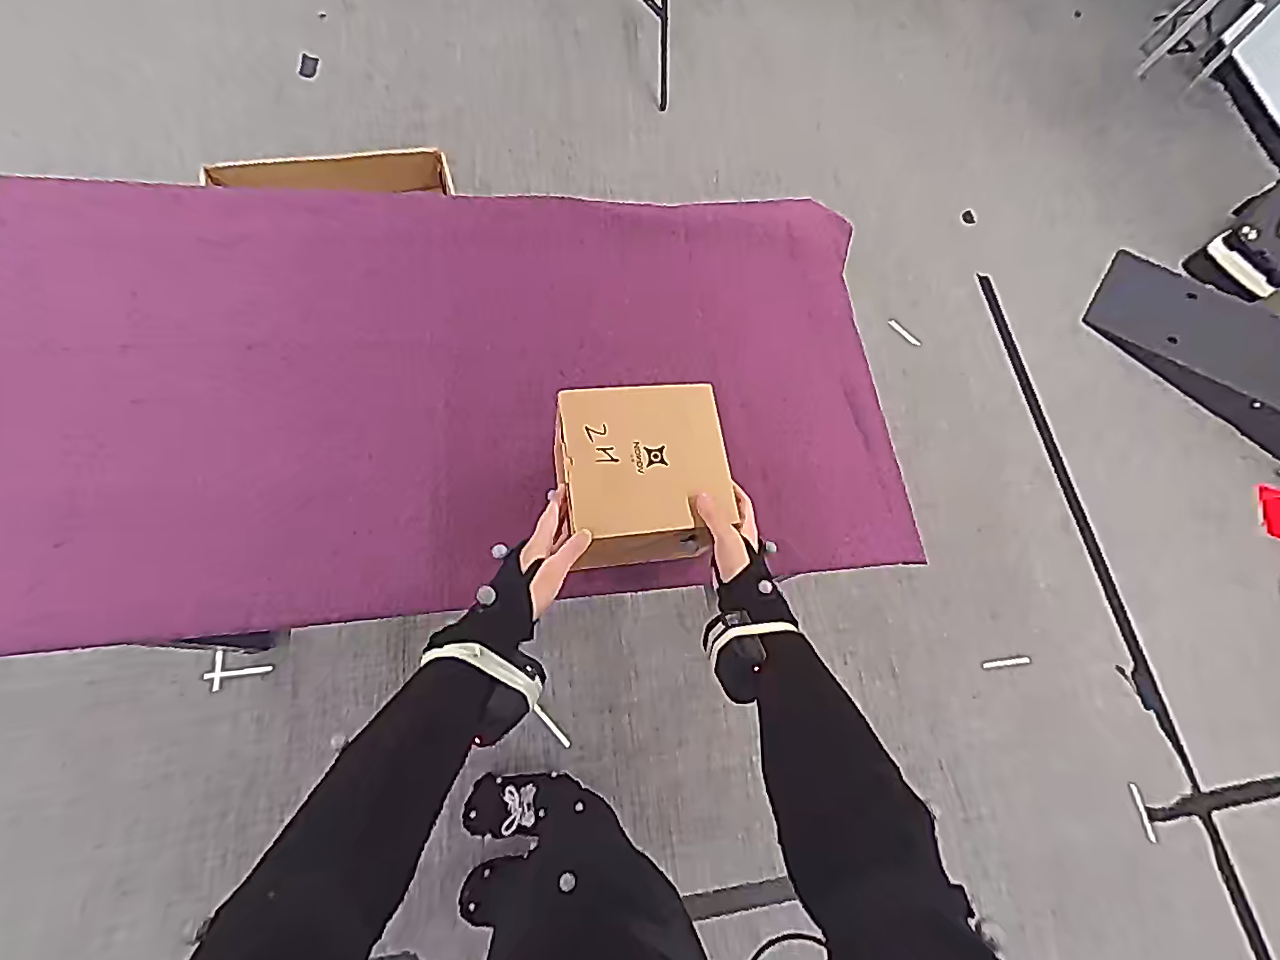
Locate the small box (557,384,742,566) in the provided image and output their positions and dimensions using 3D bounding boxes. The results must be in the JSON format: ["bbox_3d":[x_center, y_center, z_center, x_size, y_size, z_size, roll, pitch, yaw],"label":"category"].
[{"bbox_3d":[-0.002,0.001,0.639,0.179,0.176,0.168,-5,71,-11],"label":"small box"}]
